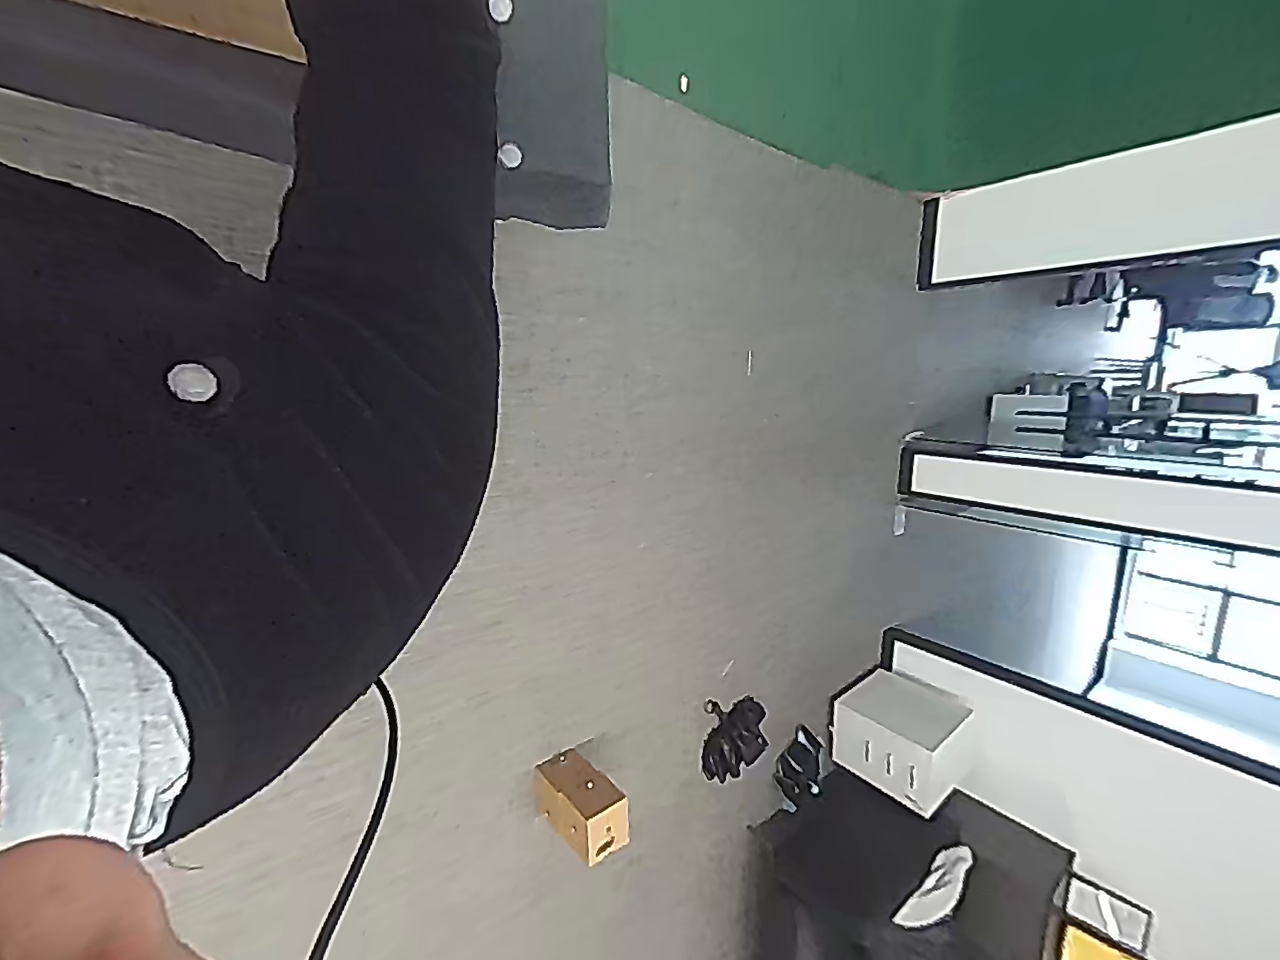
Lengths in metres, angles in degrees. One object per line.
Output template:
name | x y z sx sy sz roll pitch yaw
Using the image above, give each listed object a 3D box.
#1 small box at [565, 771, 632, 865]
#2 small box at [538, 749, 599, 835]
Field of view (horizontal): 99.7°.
small box | -0.143 1.136 1.833 0.168 0.176 0.179 -10 103 -39
small box | -0.254 1.118 1.954 0.168 0.176 0.179 -12 104 -39
